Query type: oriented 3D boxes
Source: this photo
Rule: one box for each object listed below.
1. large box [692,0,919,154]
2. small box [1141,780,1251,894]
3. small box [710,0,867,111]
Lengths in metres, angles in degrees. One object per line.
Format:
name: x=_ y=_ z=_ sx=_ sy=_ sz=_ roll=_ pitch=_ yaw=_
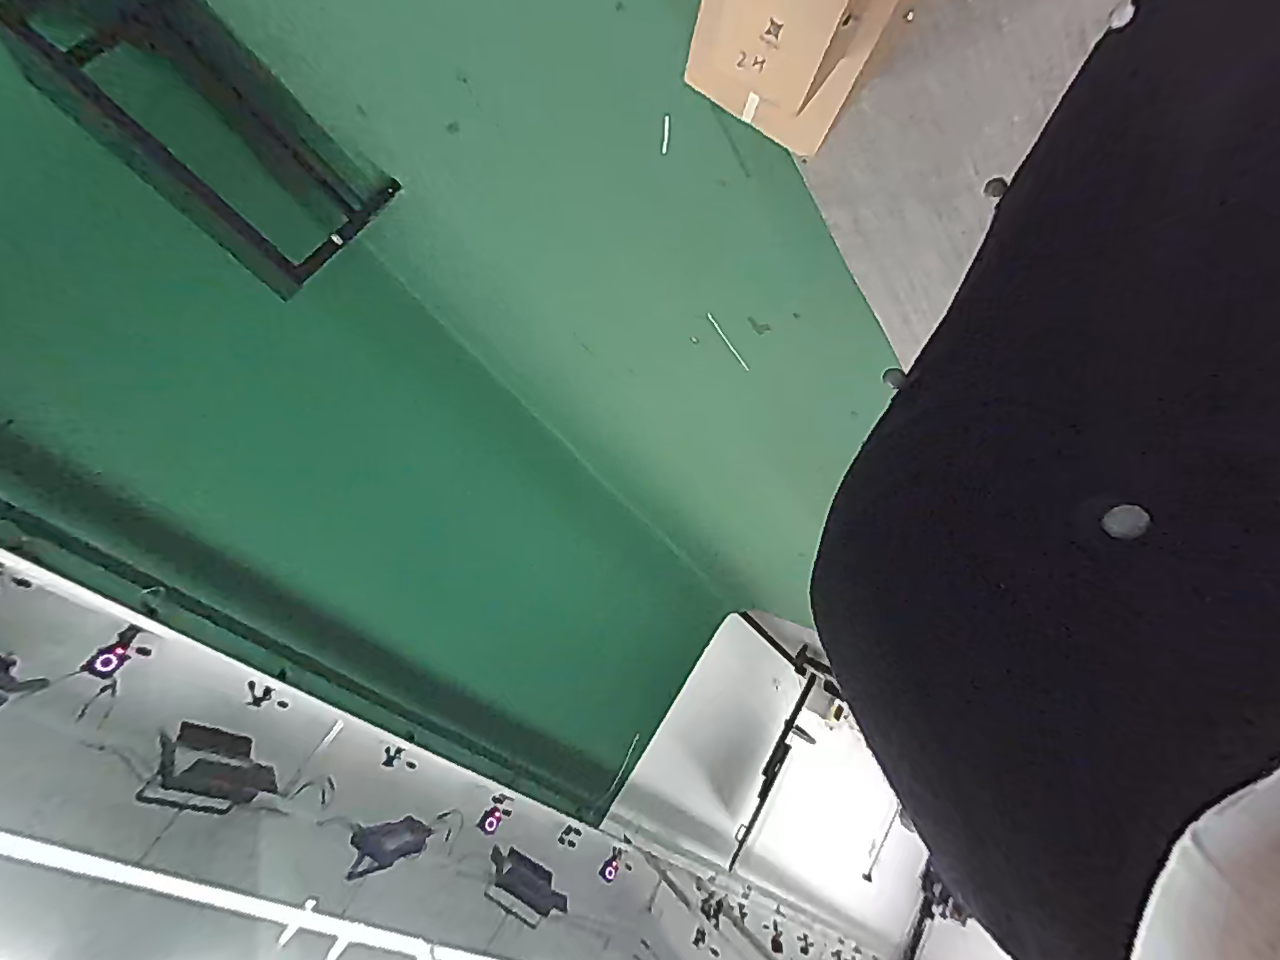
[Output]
large box: x=0.332 y=-0.898 z=0.931 sx=0.320 sy=0.320 sz=0.408 roll=36 pitch=164 yaw=3
small box: x=1.436 y=0.913 z=1.396 sx=0.179 sy=0.176 sz=0.168 roll=43 pitch=162 yaw=-29
small box: x=0.231 y=-0.706 z=0.788 sx=0.168 sy=0.176 sz=0.179 roll=34 pitch=163 yaw=2
